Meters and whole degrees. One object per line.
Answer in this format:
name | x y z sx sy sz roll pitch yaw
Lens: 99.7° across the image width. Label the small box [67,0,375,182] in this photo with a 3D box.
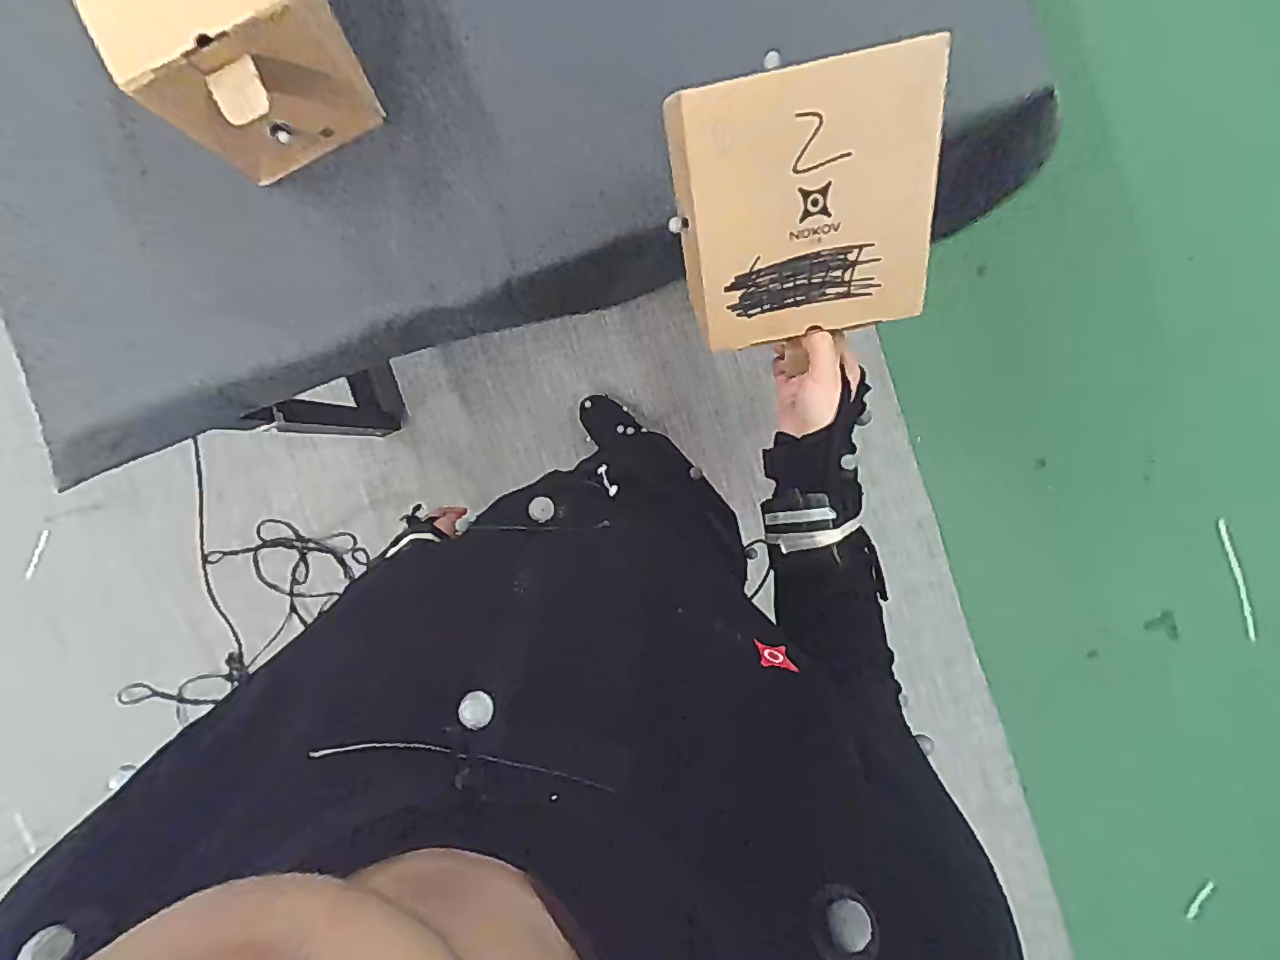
small box | -0.403 -0.440 0.527 0.168 0.176 0.179 -28 93 2
